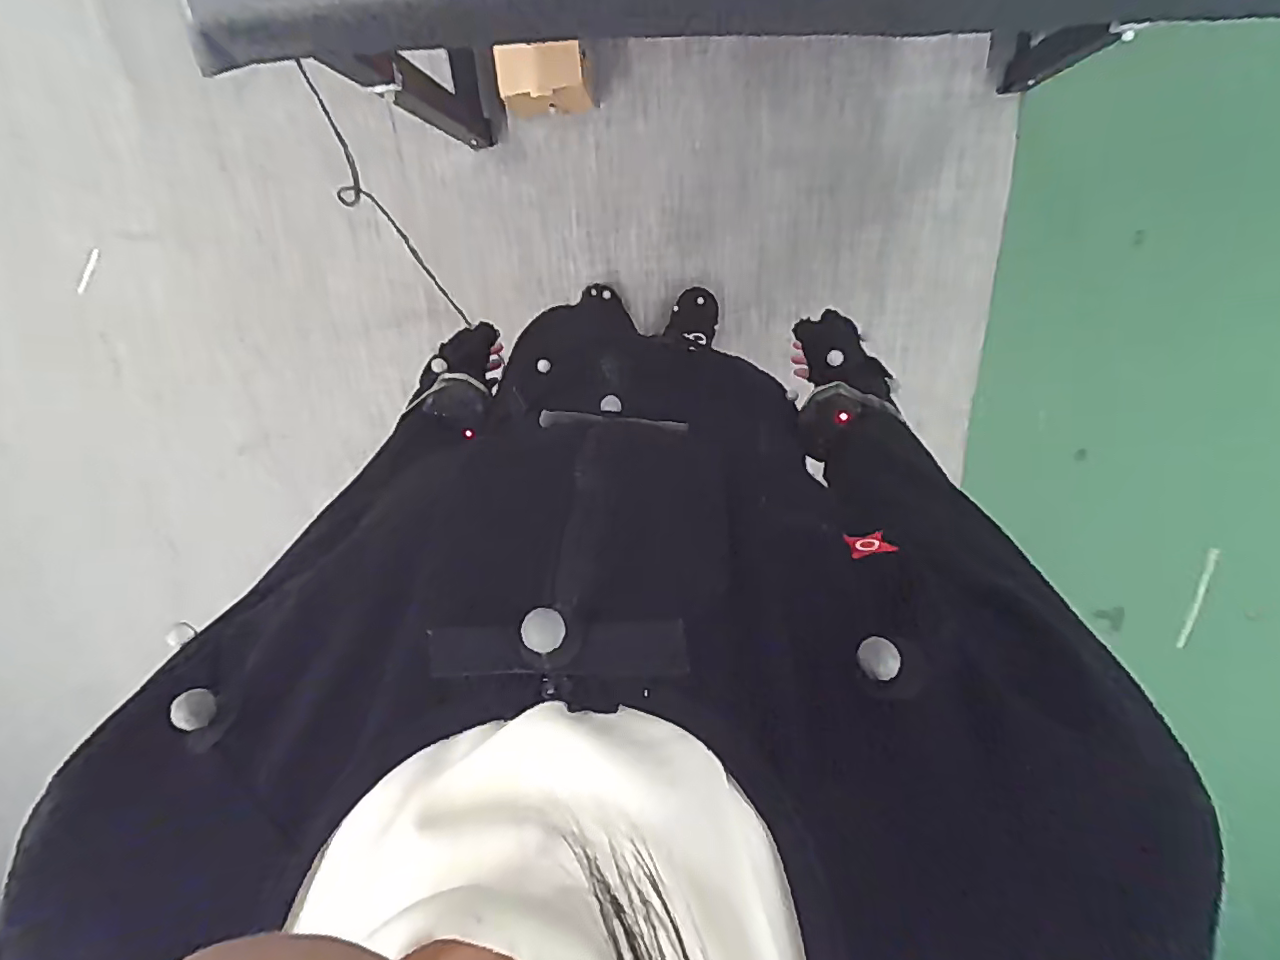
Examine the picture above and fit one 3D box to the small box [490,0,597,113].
[{"bbox_3d":[-0.184,-0.858,1.083,0.168,0.176,0.179,-2,111,6],"label":"small box"}]
